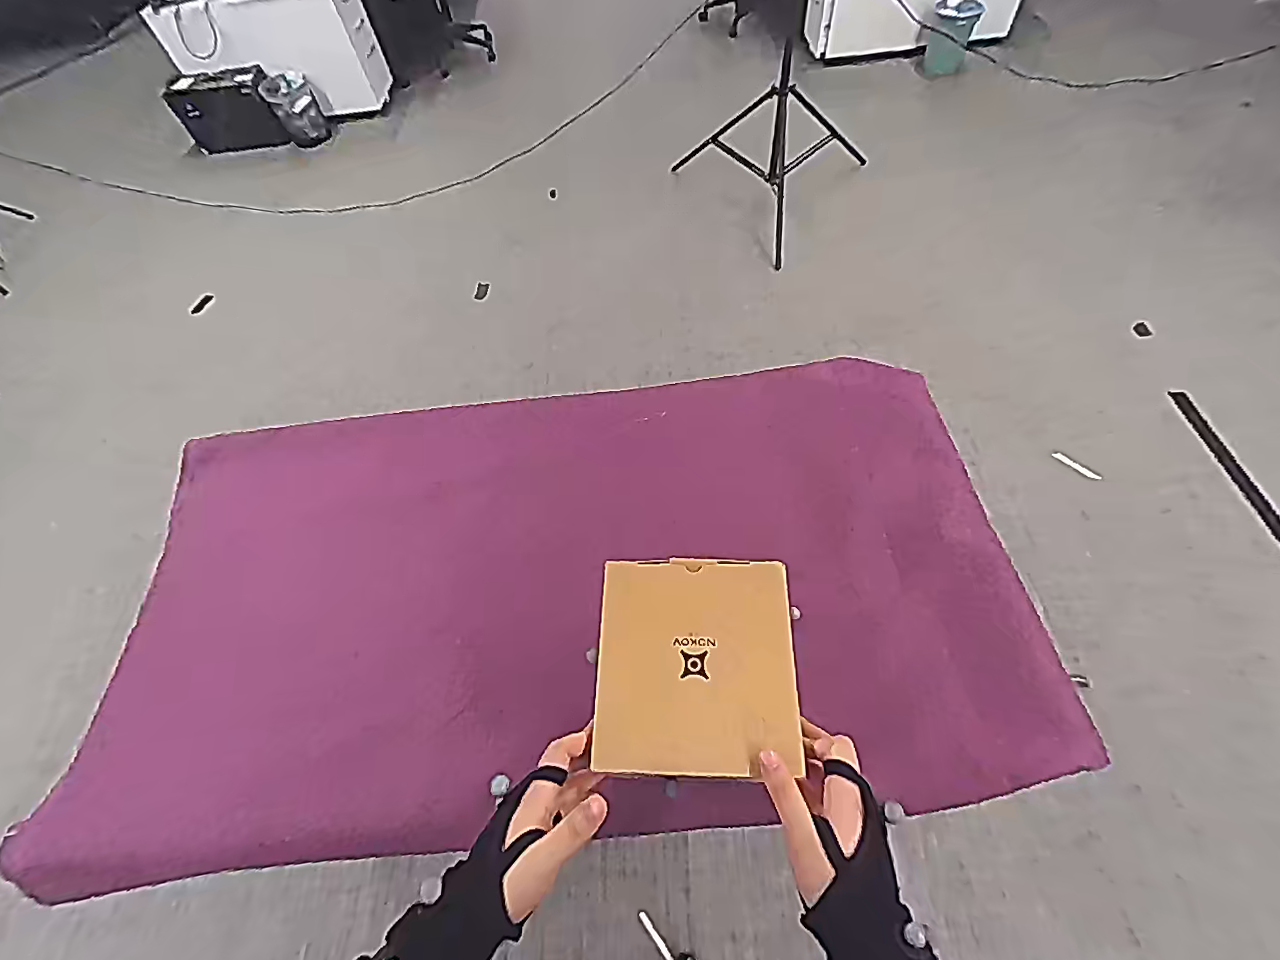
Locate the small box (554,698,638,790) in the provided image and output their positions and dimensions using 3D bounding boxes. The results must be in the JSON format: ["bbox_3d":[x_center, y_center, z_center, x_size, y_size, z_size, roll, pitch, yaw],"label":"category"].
[{"bbox_3d":[-0.094,0.606,1.235,0.168,0.176,0.179,-4,57,3],"label":"small box"}]

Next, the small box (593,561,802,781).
[{"bbox_3d":[0.055,0.190,0.525,0.168,0.176,0.179,-1,59,5],"label":"small box"}]
